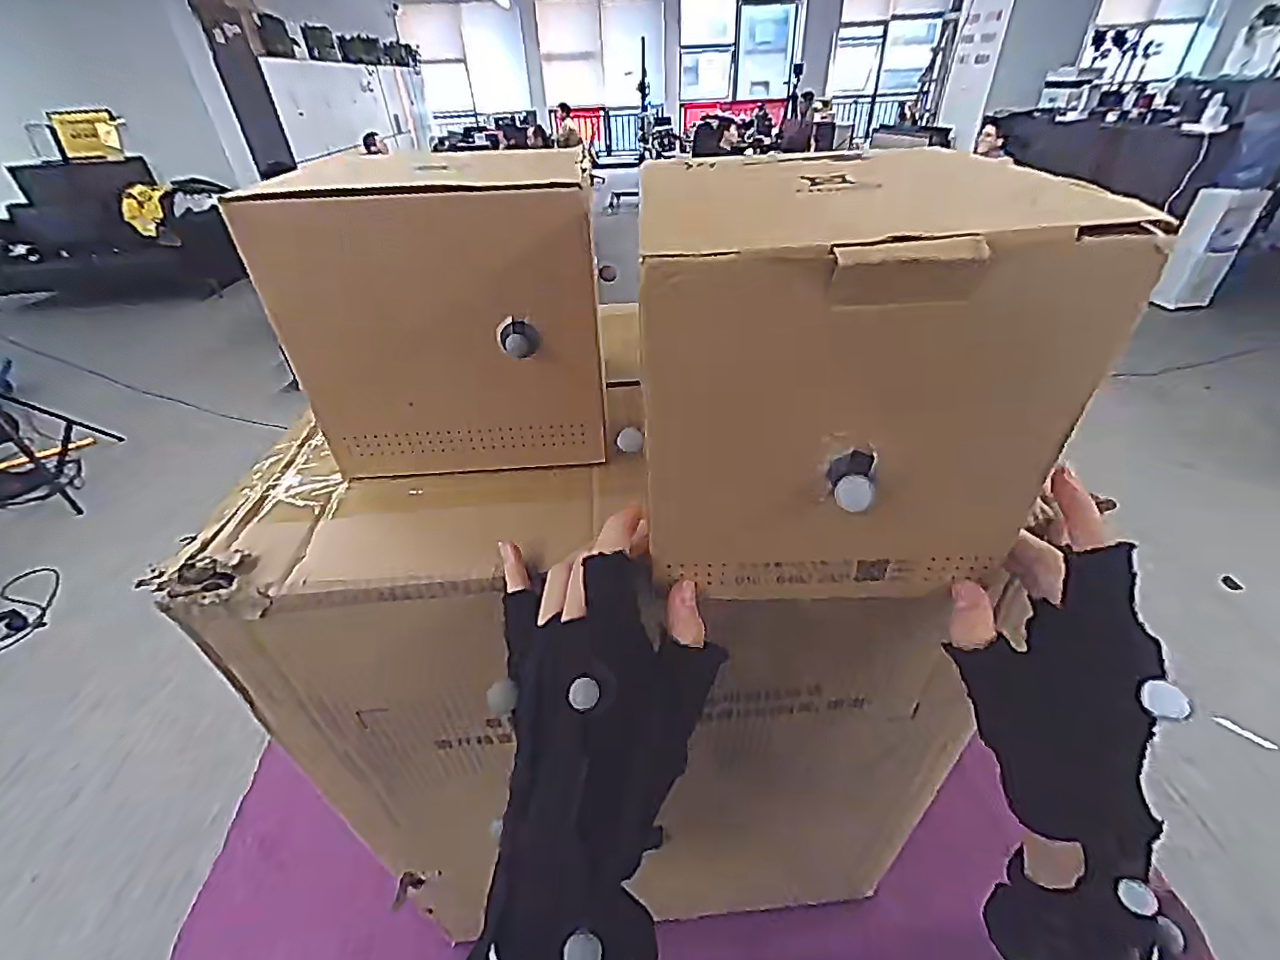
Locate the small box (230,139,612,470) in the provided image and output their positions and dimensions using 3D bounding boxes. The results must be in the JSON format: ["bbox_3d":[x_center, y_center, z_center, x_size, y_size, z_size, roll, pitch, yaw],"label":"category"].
[{"bbox_3d":[-0.110,-0.122,0.368,0.179,0.176,0.168,-5,36,-2],"label":"small box"}]

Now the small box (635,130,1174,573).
[{"bbox_3d":[0.087,-0.065,0.280,0.168,0.176,0.179,-2,39,3],"label":"small box"}]
